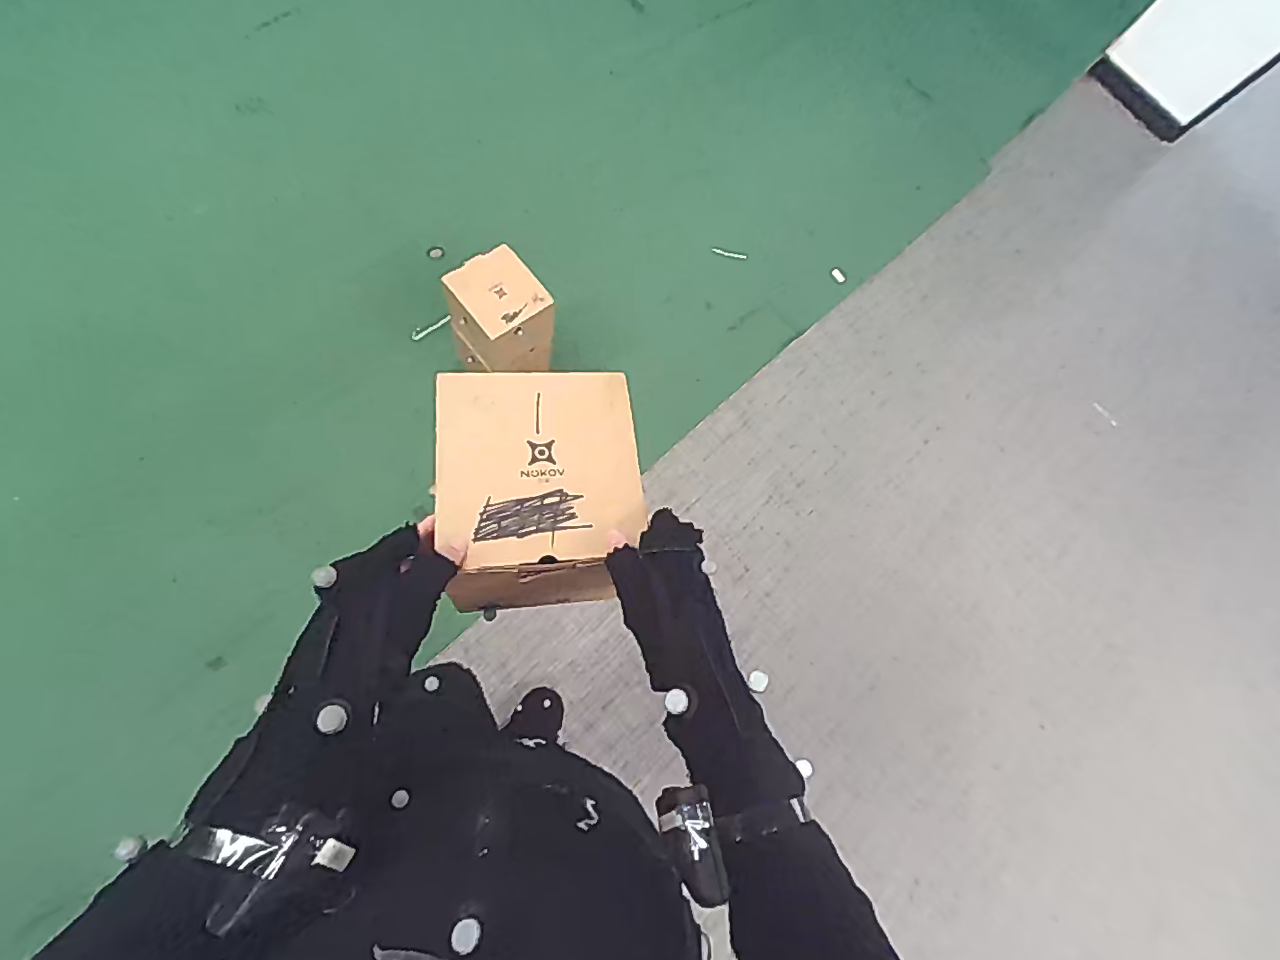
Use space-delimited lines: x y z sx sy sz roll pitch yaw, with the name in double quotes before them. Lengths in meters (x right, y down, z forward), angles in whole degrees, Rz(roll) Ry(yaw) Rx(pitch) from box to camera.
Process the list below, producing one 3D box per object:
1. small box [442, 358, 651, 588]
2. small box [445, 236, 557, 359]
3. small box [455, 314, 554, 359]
"small box" -0.092 0.002 0.523 0.168 0.176 0.179 -3 67 -13
"small box" -0.306 -0.393 1.206 0.168 0.176 0.179 -38 85 -18
"small box" -0.338 -0.347 1.360 0.168 0.176 0.179 -40 87 -18
